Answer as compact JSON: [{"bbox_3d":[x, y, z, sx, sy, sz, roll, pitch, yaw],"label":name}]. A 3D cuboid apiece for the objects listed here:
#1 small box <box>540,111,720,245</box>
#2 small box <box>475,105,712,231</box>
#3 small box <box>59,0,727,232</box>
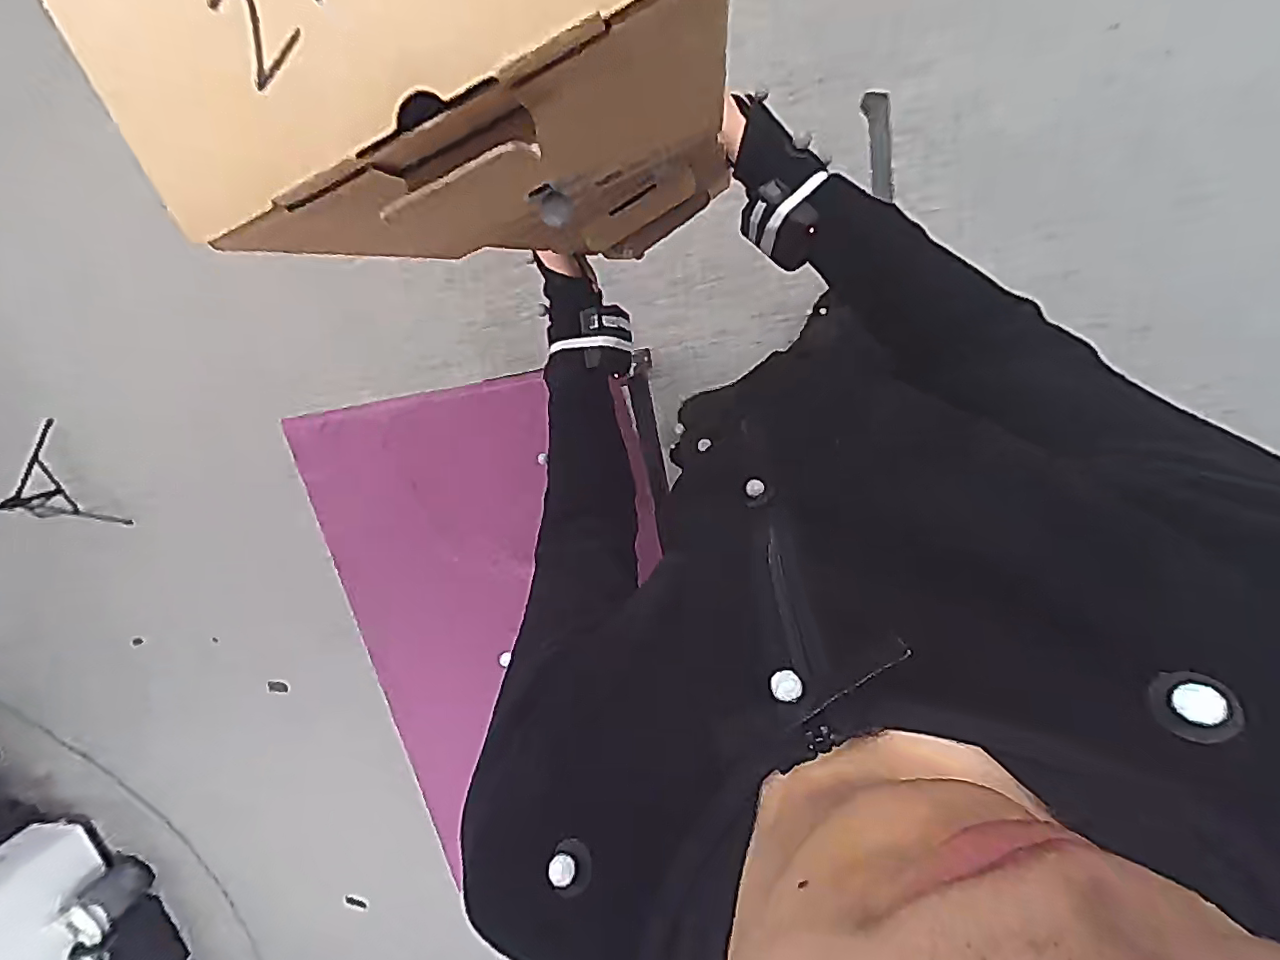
[{"bbox_3d":[-0.035,-0.333,0.486,0.168,0.176,0.179,-25,105,17],"label":"small box"},{"bbox_3d":[-0.061,-0.276,0.335,0.168,0.176,0.179,-24,106,16],"label":"small box"},{"bbox_3d":[-0.075,-0.206,0.186,0.168,0.176,0.179,-17,108,14],"label":"small box"}]
